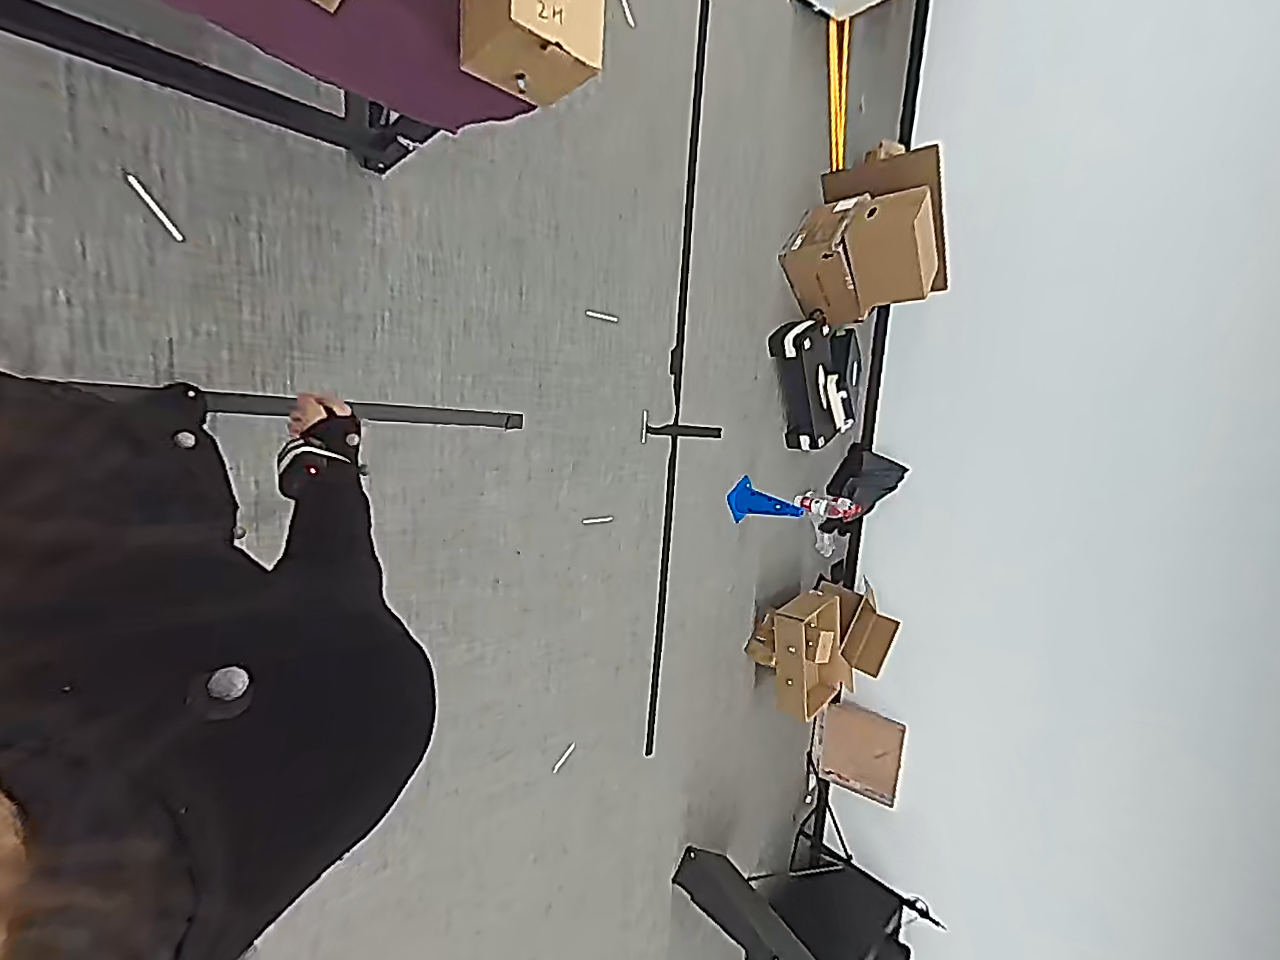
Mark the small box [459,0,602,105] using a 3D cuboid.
[{"bbox_3d":[-0.176,-0.748,0.861,0.168,0.176,0.179,-3,101,-42],"label":"small box"}]
